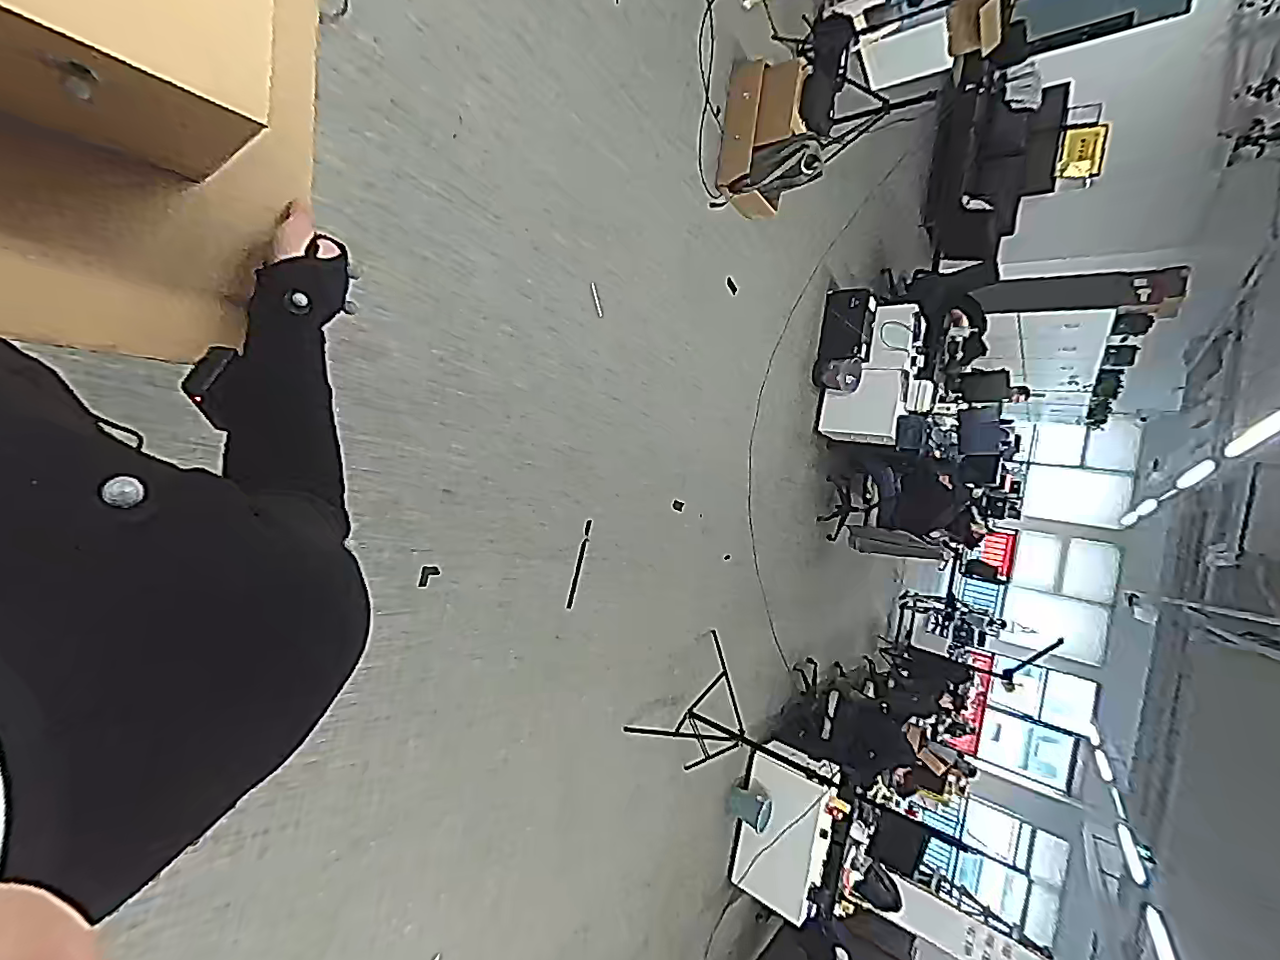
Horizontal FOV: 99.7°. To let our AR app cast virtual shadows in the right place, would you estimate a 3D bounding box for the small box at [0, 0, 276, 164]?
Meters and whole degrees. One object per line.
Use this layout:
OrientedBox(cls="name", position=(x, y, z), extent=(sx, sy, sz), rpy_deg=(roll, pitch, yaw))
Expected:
OrientedBox(cls="small box", position=(-0.391, -0.357, 0.388), extent=(0.179, 0.176, 0.168), rpy_deg=(0, 95, -51))
